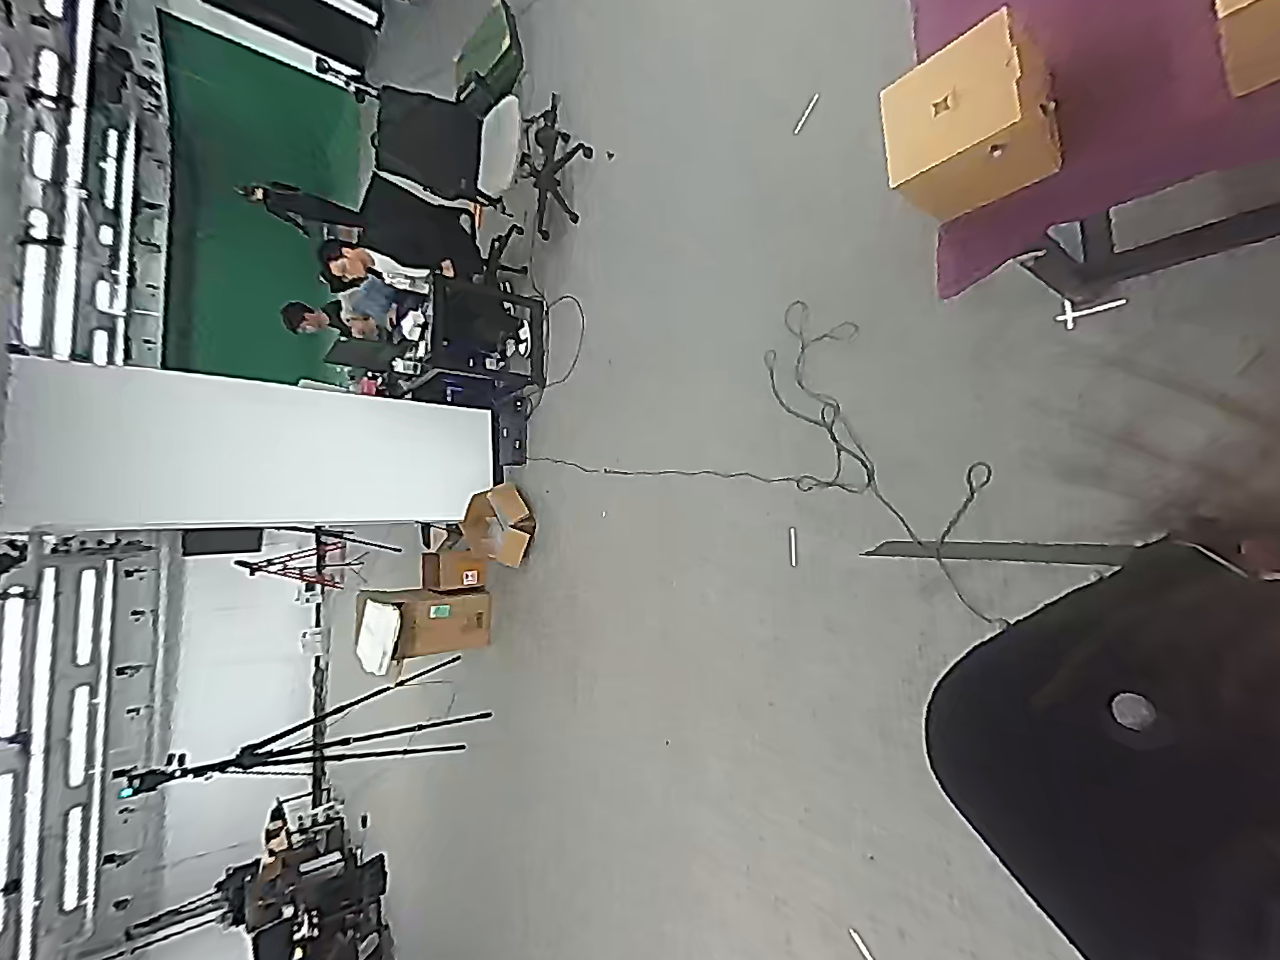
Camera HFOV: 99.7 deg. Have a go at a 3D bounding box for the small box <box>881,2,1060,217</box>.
[{"bbox_3d":[0.490,-0.530,0.809,0.179,0.176,0.168,-10,80,50],"label":"small box"}]
